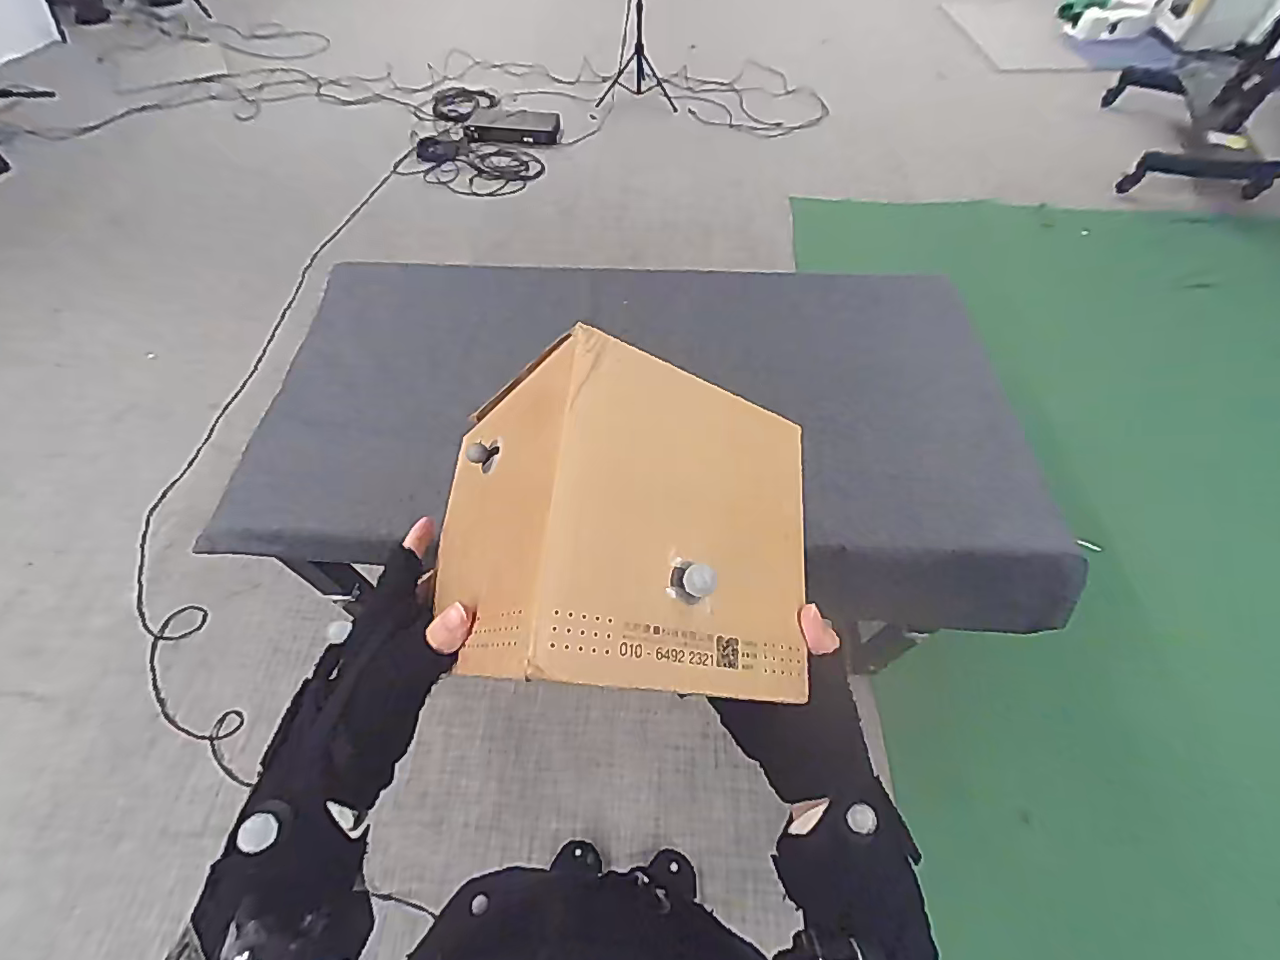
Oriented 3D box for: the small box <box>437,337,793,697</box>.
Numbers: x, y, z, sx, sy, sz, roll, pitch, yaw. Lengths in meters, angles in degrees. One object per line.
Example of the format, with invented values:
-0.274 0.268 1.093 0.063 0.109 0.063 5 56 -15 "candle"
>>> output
-0.019 0.044 0.358 0.168 0.179 0.176 17 66 -31 "small box"
